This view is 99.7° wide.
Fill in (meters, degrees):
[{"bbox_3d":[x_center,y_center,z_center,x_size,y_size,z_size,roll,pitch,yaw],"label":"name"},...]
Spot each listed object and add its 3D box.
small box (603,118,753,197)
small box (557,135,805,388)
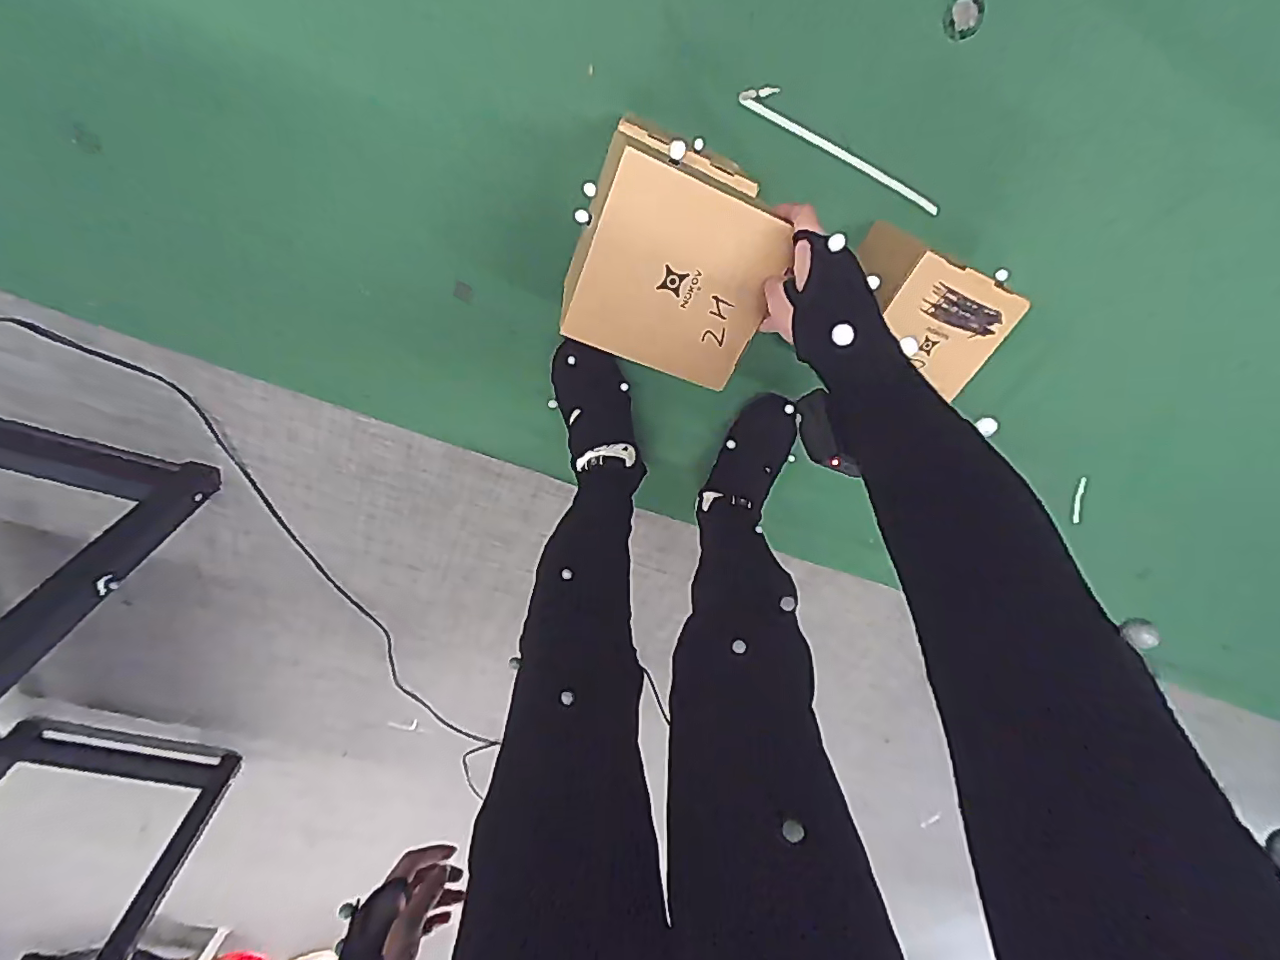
[{"bbox_3d":[0.022,-0.331,0.690,0.168,0.176,0.179,18,123,-12],"label":"small box"},{"bbox_3d":[0.027,-0.225,0.548,0.179,0.176,0.168,17,123,-18],"label":"small box"}]
